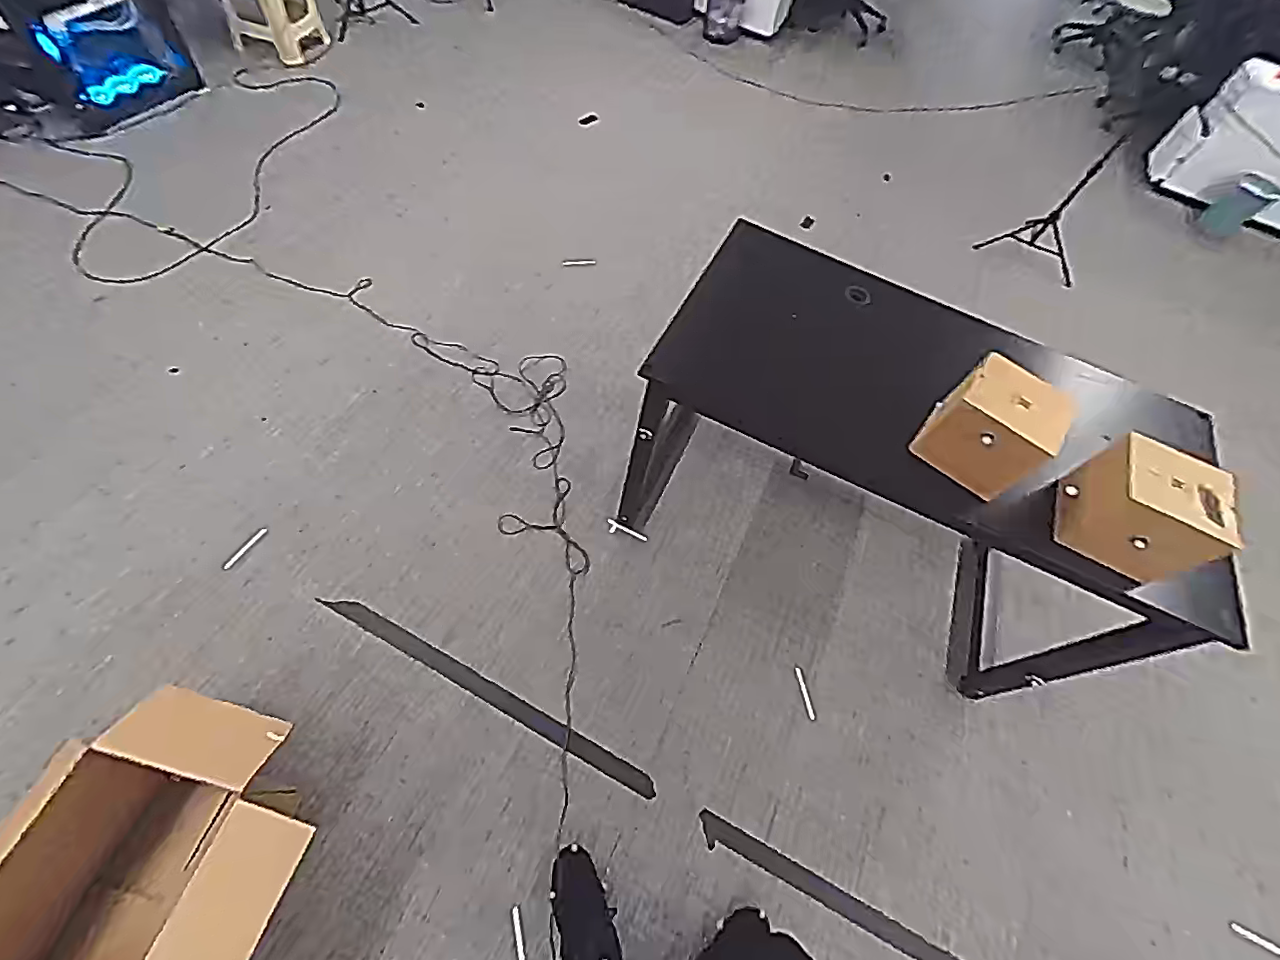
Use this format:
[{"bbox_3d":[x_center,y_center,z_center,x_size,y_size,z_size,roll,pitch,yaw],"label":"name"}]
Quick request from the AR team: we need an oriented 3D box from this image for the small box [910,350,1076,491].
[{"bbox_3d":[0.659,-0.103,1.025,0.179,0.176,0.168,37,61,14],"label":"small box"}]

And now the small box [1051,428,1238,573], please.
[{"bbox_3d":[0.891,0.045,0.970,0.179,0.176,0.168,27,59,9],"label":"small box"}]
